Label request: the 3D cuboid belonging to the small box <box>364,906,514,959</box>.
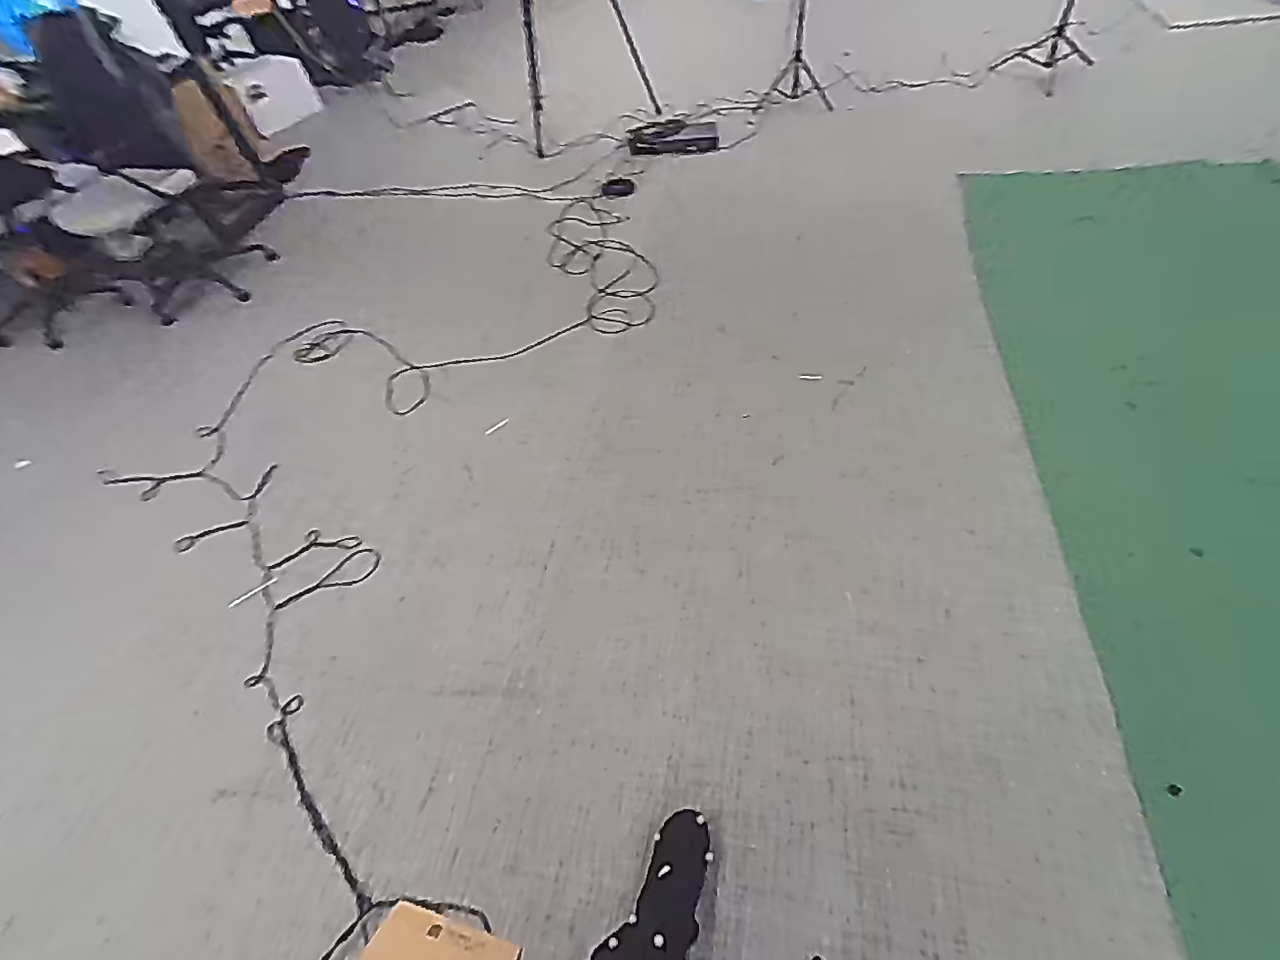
[{"bbox_3d":[-0.247,0.625,0.588,0.168,0.176,0.179,12,99,9],"label":"small box"}]
